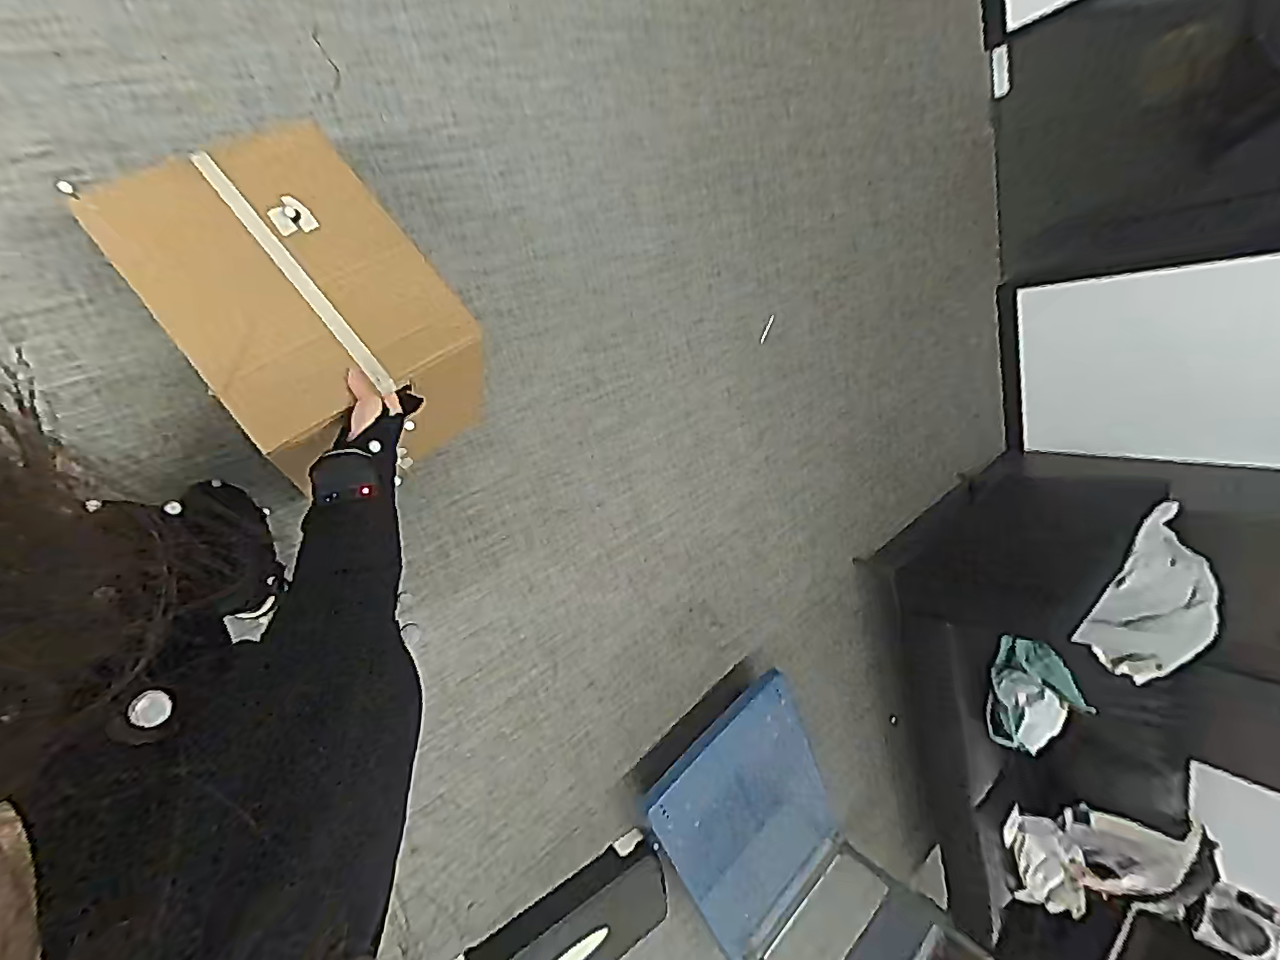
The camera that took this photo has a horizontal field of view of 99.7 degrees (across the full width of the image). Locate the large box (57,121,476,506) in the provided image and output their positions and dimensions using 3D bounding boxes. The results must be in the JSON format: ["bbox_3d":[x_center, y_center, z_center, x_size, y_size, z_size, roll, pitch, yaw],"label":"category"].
[{"bbox_3d":[-0.505,-0.231,0.834,0.320,0.320,0.408,-38,85,-24],"label":"large box"}]
